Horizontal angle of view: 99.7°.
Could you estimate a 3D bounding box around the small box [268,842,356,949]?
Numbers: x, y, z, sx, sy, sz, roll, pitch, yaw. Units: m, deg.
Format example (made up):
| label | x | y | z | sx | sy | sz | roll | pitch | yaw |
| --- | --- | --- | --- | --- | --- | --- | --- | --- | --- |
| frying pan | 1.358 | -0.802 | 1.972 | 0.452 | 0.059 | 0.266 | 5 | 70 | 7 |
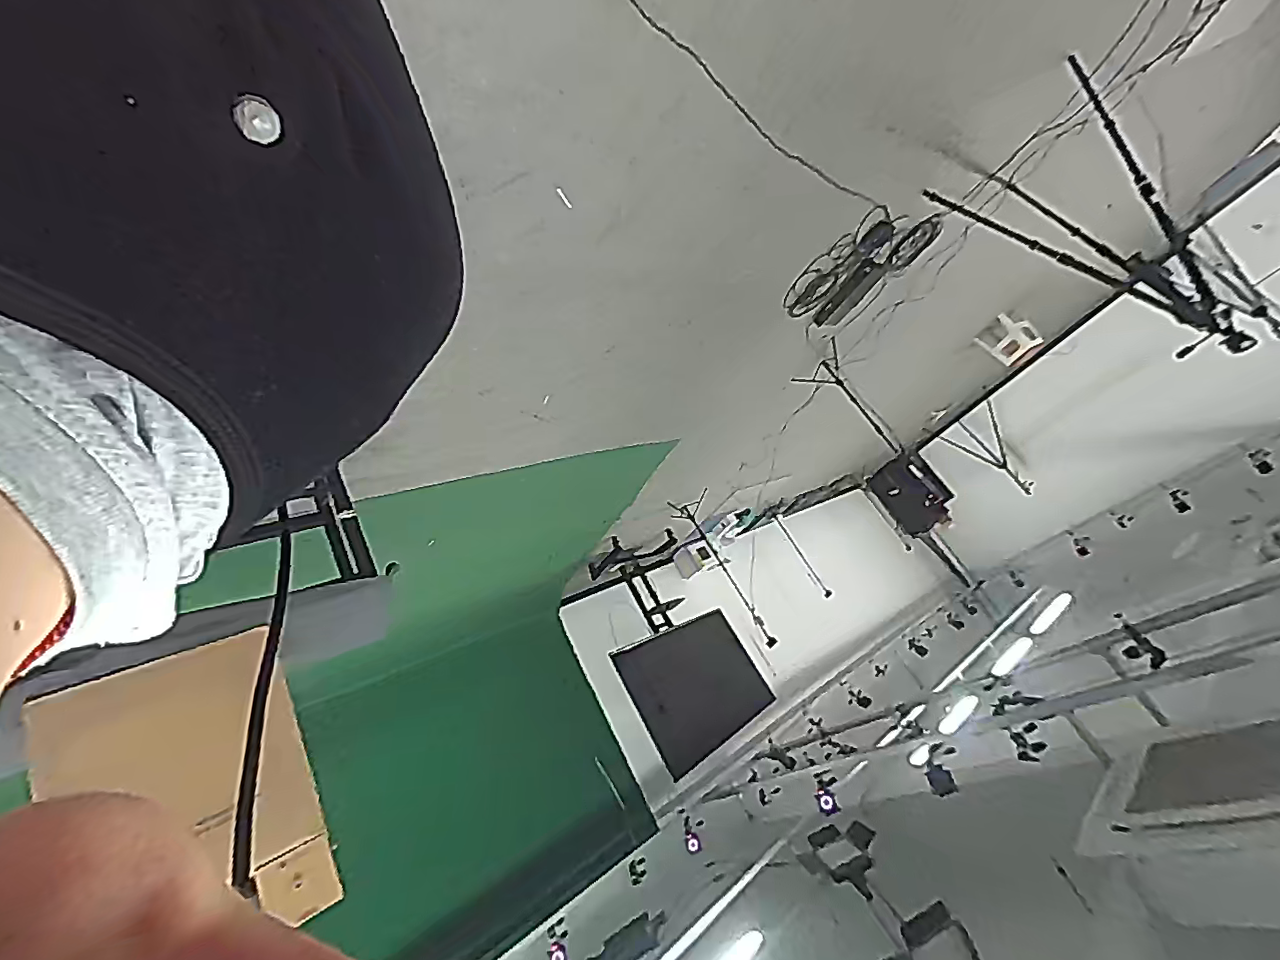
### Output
| label | x | y | z | sx | sy | sz | roll | pitch | yaw |
| --- | --- | --- | --- | --- | --- | --- | --- | --- | --- |
| small box | -0.881 | 1.113 | 1.458 | 0.168 | 0.176 | 0.179 | -17 | 154 | -36 |
